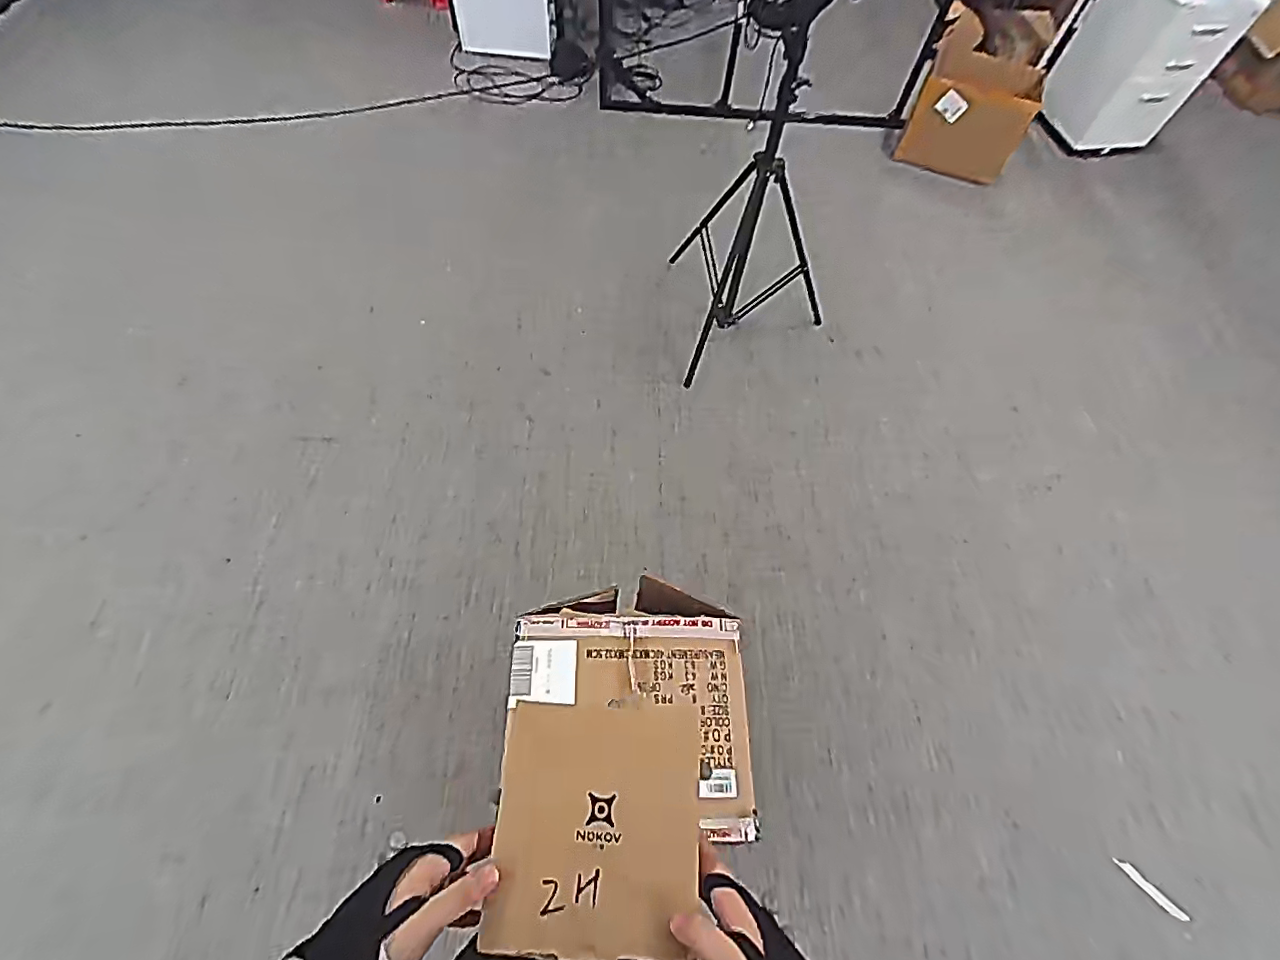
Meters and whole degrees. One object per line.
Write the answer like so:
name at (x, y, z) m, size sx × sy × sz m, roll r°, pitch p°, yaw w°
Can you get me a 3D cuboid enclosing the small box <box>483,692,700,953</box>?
small box at (-0.038, 0.311, 0.514) m, size 0.168 × 0.176 × 0.179 m, roll 5°, pitch 61°, yaw -1°
